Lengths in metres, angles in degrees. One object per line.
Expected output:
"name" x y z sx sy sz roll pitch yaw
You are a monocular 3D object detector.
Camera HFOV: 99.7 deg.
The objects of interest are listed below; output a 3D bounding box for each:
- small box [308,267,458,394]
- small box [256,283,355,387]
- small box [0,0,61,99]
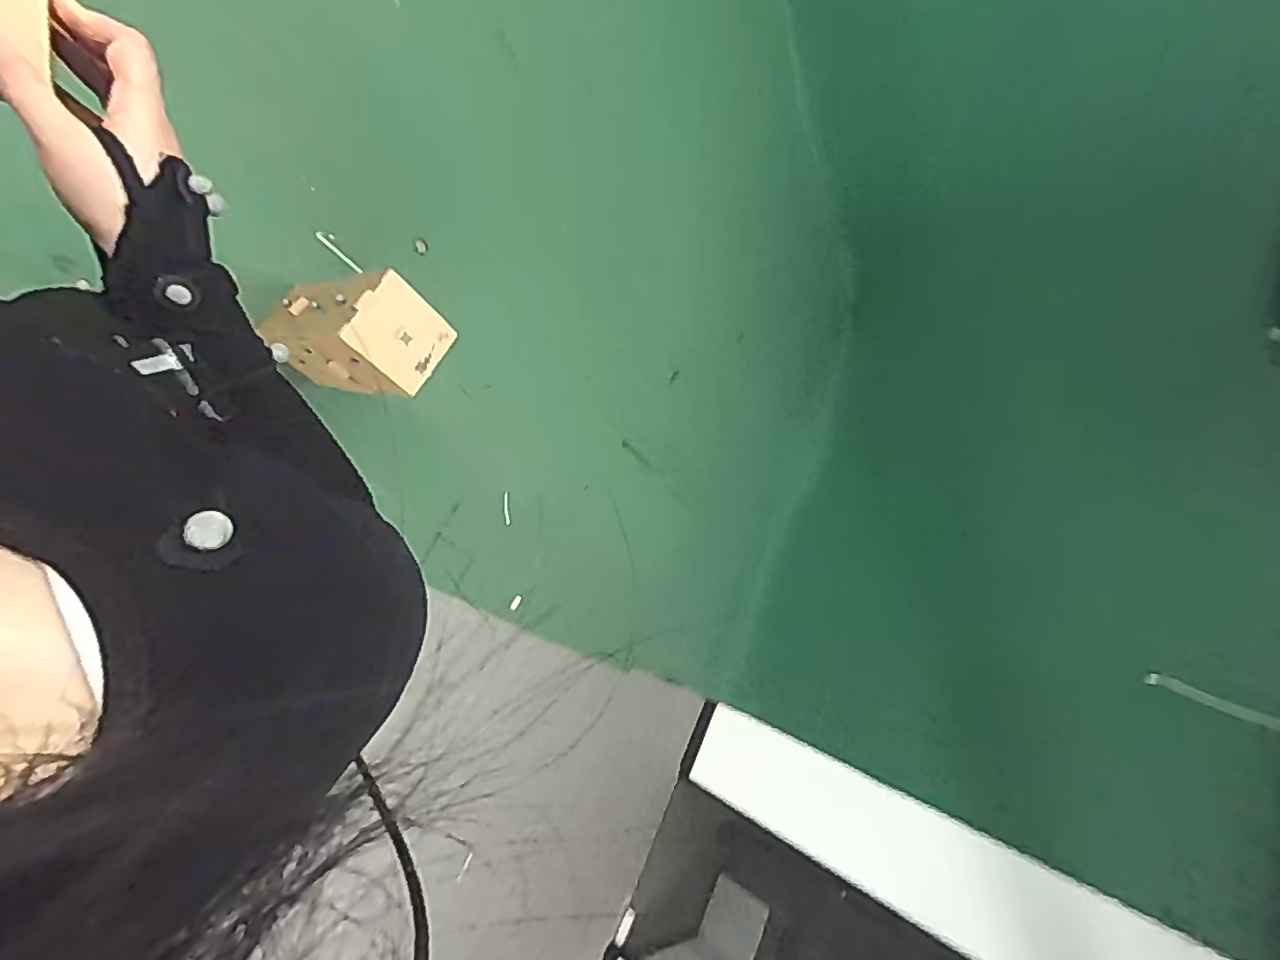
"small box" -0.509 -0.290 1.069 0.179 0.176 0.168 48 63 -46
"small box" -0.754 -0.346 1.280 0.168 0.176 0.179 -60 139 -19
"small box" -0.413 -0.310 0.254 0.179 0.176 0.168 -5 114 -50
